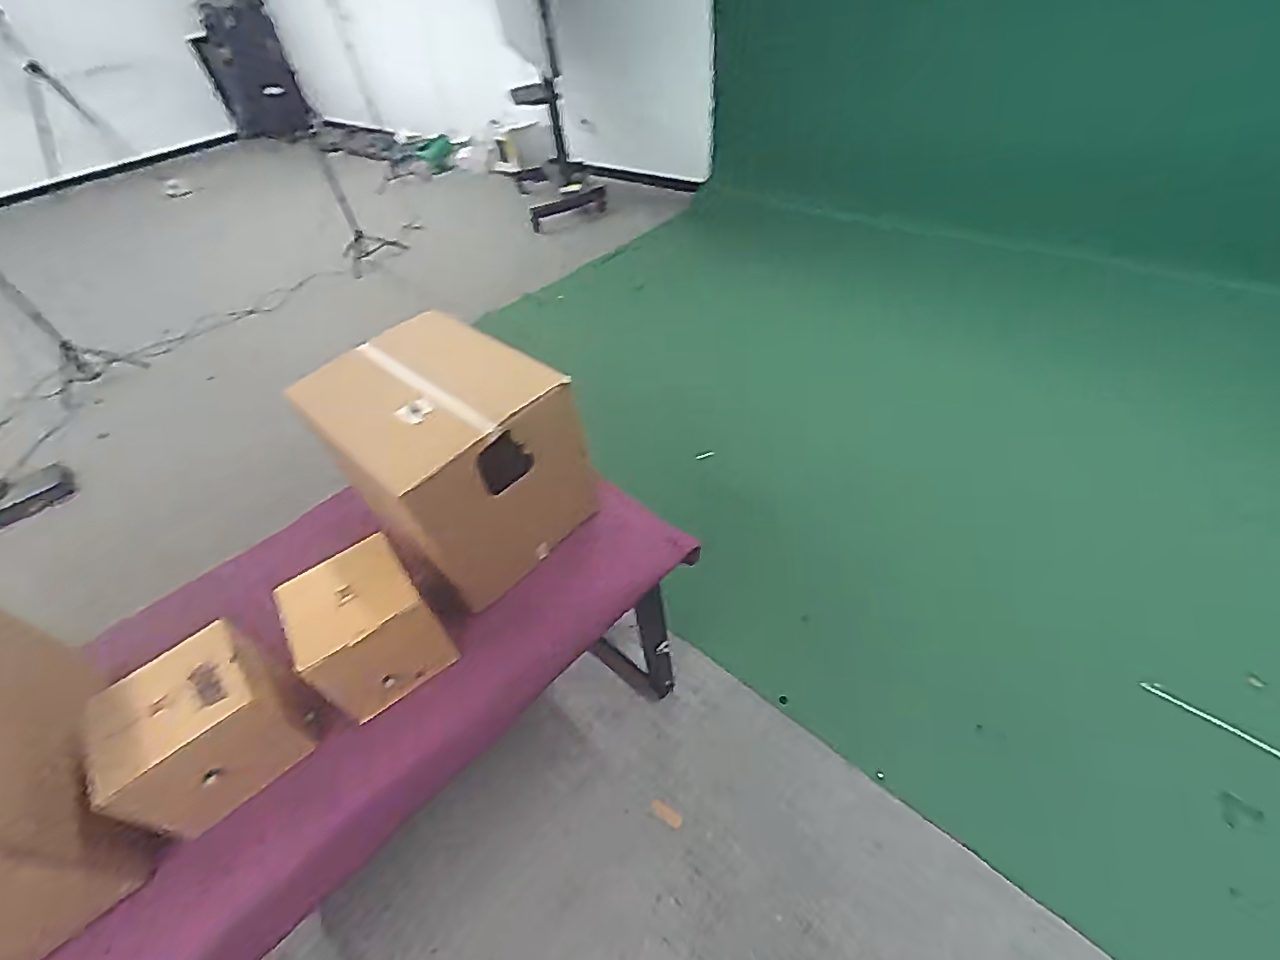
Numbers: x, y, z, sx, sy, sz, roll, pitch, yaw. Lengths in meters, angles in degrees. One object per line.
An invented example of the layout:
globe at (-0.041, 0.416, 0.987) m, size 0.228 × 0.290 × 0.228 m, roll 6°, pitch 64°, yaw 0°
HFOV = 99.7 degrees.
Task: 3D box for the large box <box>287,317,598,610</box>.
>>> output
large box at (-0.339, -0.044, 0.992) m, size 0.408 × 0.320 × 0.320 m, roll 31°, pitch 59°, yaw 31°
